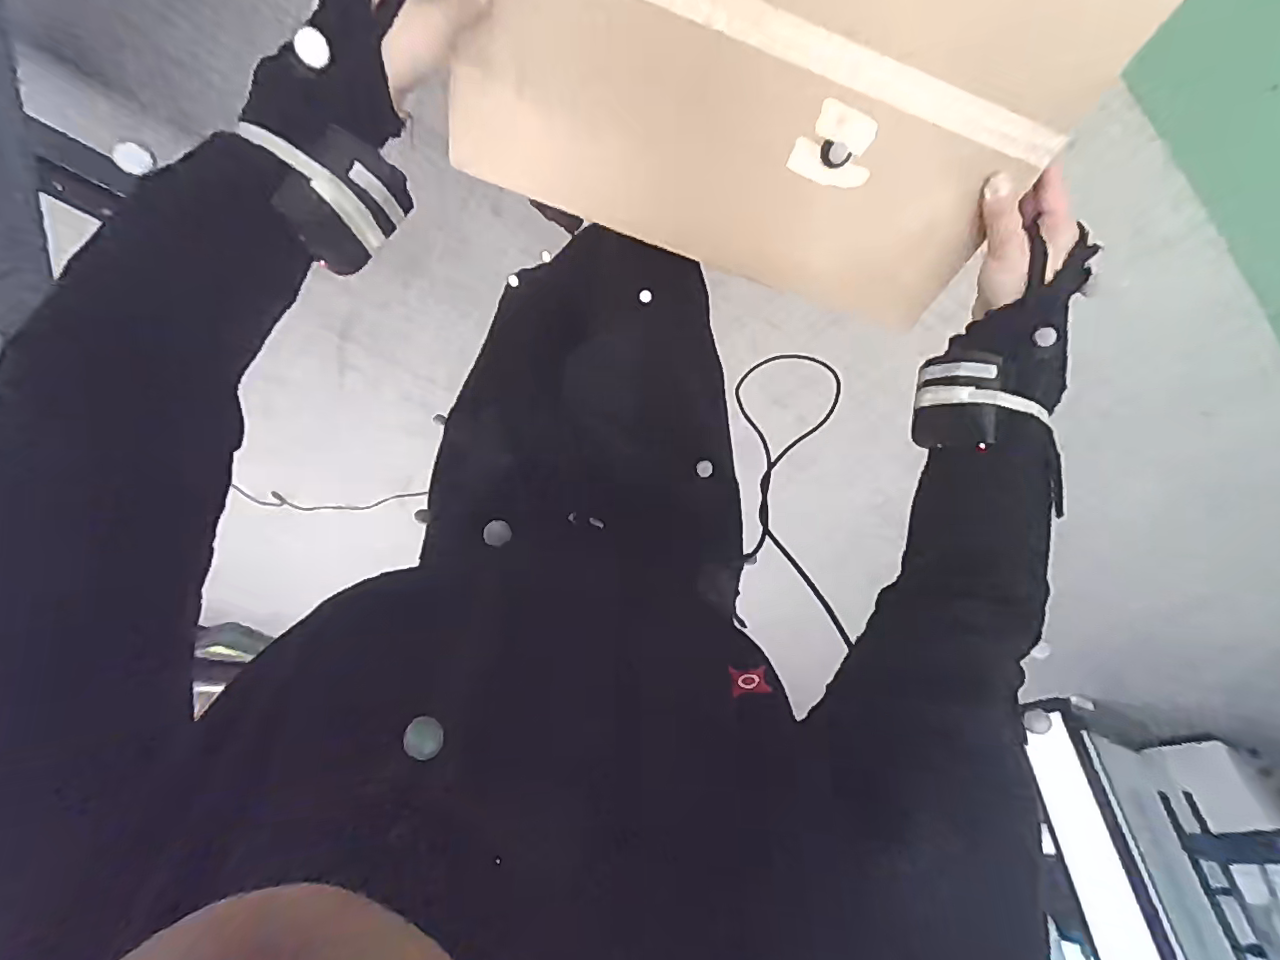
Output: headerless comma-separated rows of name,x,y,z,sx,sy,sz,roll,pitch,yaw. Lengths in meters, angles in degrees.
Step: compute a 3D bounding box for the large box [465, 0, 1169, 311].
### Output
large box,0.109,-0.399,0.425,0.408,0.320,0.320,16,140,-8
